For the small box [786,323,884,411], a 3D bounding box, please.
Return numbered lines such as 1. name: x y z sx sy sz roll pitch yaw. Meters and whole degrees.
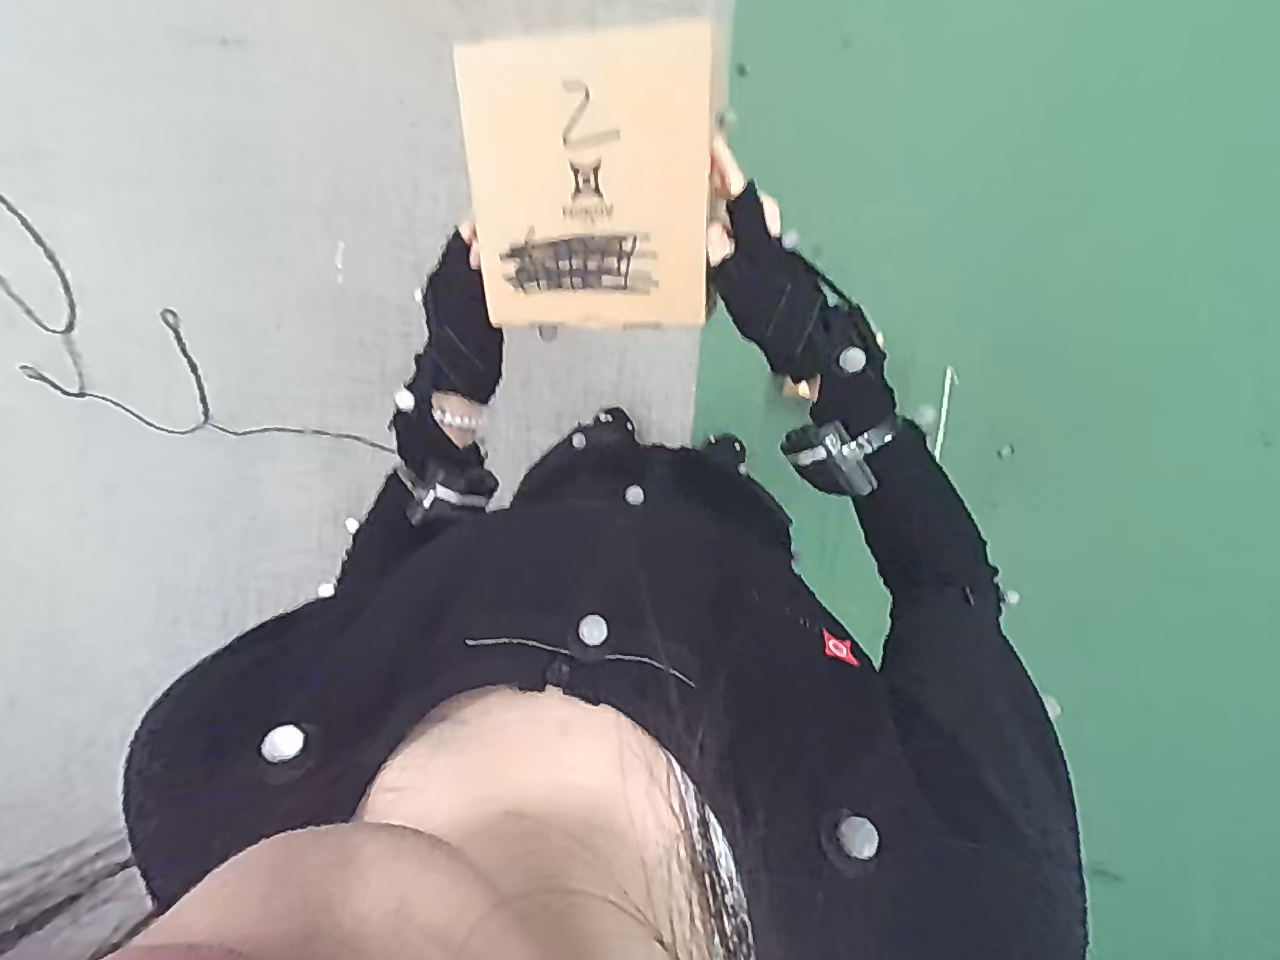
1. small box: 0.475 -0.274 1.347 0.168 0.176 0.179 12 97 2
